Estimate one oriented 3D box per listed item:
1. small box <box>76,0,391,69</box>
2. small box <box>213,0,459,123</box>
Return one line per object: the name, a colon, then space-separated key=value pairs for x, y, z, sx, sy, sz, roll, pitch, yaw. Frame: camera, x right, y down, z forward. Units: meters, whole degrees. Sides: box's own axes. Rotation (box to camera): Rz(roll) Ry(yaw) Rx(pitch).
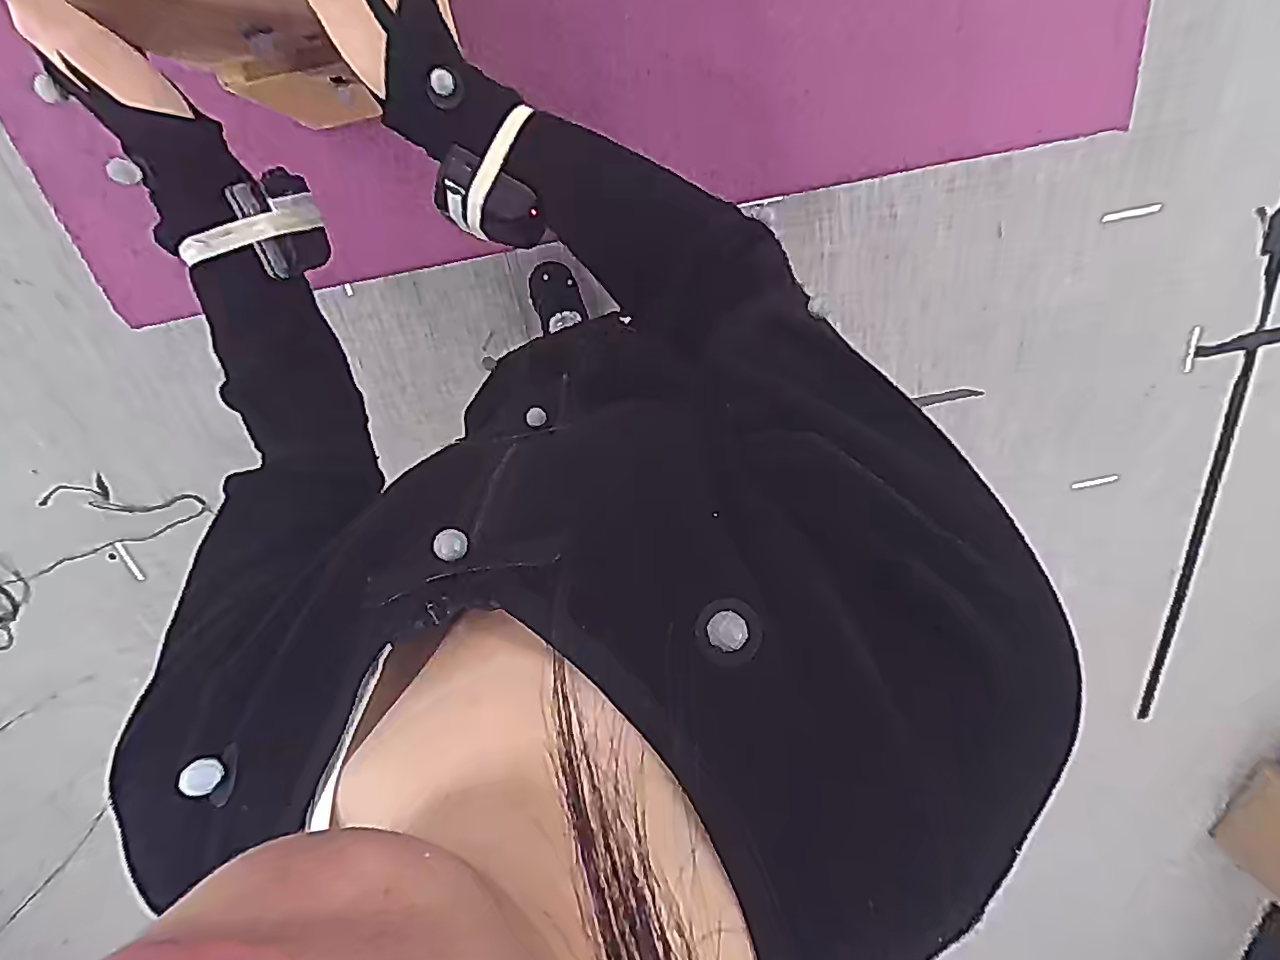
small box: x=-0.274 y=-0.377 z=0.310 sx=0.168 sy=0.176 sz=0.179 roll=-12 pitch=115 yaw=-1
small box: x=-0.270 y=-0.432 z=0.467 sx=0.179 sy=0.176 sz=0.168 roll=-13 pitch=115 yaw=0
